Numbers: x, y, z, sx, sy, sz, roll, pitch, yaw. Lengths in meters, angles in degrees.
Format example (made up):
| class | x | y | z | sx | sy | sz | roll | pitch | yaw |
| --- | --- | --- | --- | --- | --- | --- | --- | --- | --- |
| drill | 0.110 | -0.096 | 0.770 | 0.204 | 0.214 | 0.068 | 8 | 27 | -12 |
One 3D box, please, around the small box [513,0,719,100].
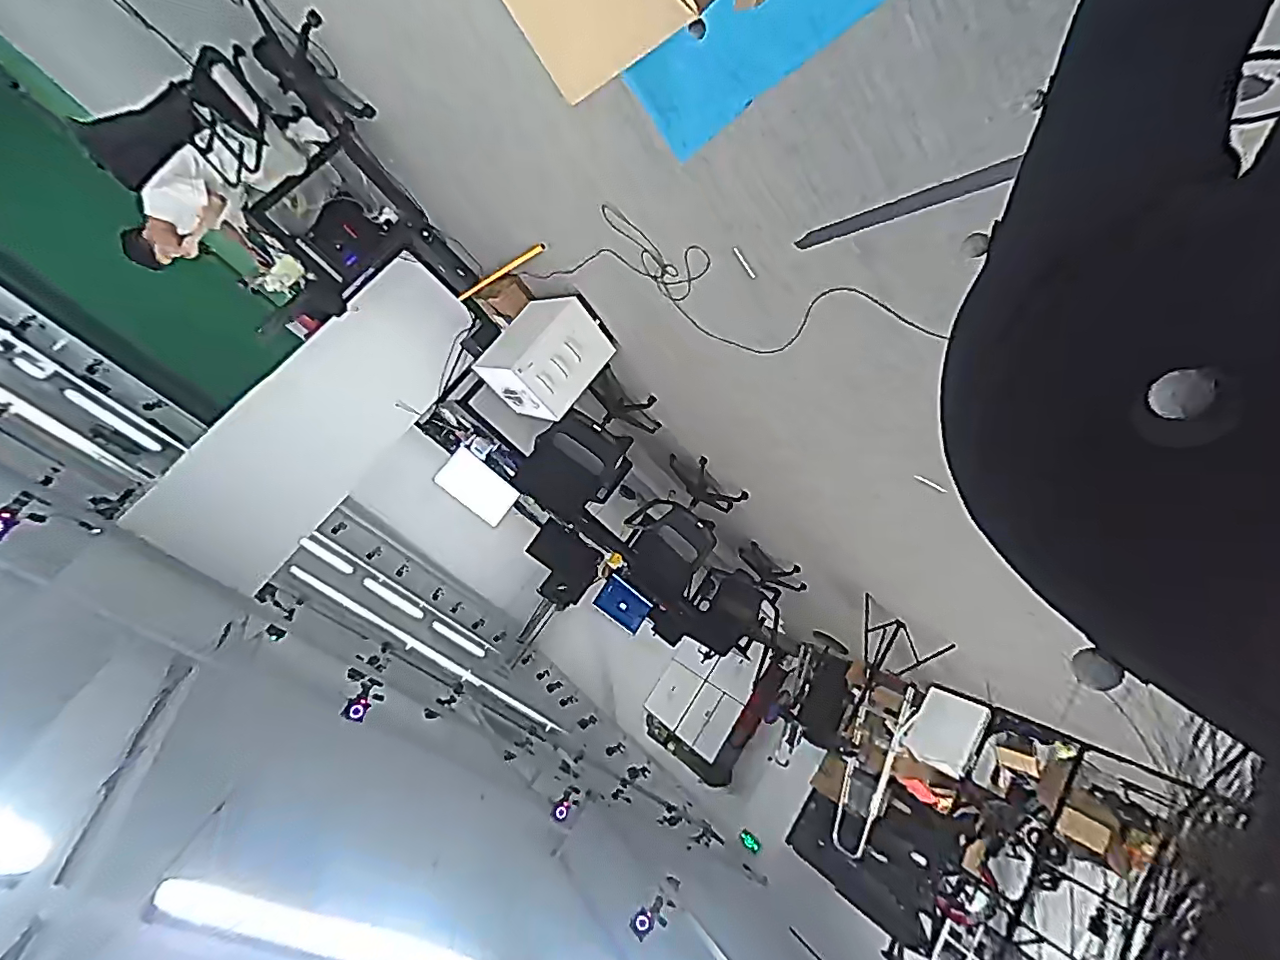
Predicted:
| class | x | y | z | sx | sy | sz | roll | pitch | yaw |
| --- | --- | --- | --- | --- | --- | --- | --- | --- | --- |
| small box | -0.010 | -0.426 | 0.387 | 0.168 | 0.176 | 0.179 | 15 | 155 | 50 |
